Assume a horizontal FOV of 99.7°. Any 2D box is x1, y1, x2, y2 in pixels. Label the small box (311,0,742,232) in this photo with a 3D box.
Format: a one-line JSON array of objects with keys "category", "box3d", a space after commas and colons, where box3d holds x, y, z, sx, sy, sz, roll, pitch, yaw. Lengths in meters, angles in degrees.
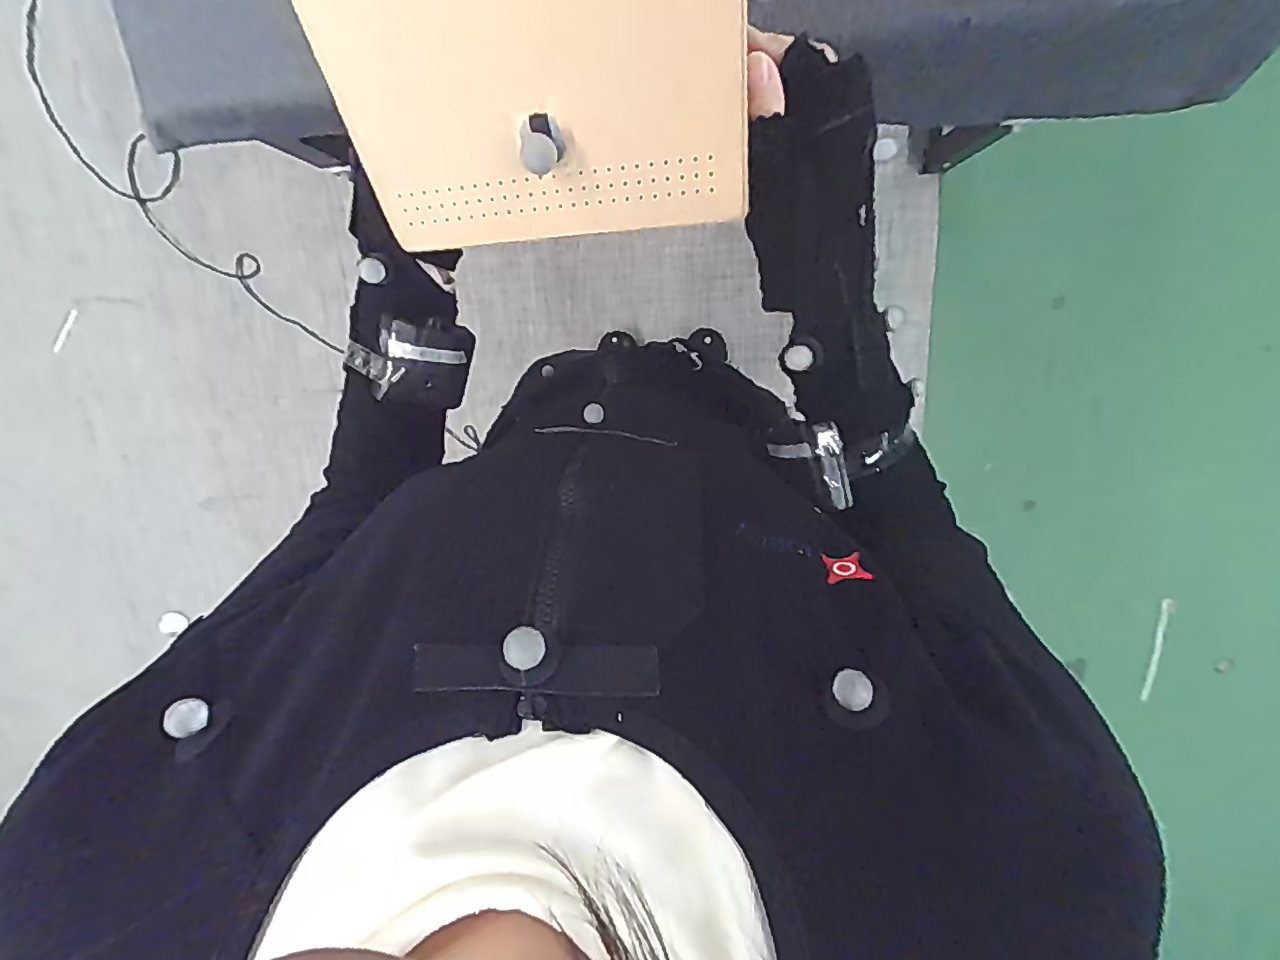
[{"category": "small box", "box3d": [-0.038, -0.241, 0.266, 0.179, 0.168, 0.176, -1, 134, 11]}]
